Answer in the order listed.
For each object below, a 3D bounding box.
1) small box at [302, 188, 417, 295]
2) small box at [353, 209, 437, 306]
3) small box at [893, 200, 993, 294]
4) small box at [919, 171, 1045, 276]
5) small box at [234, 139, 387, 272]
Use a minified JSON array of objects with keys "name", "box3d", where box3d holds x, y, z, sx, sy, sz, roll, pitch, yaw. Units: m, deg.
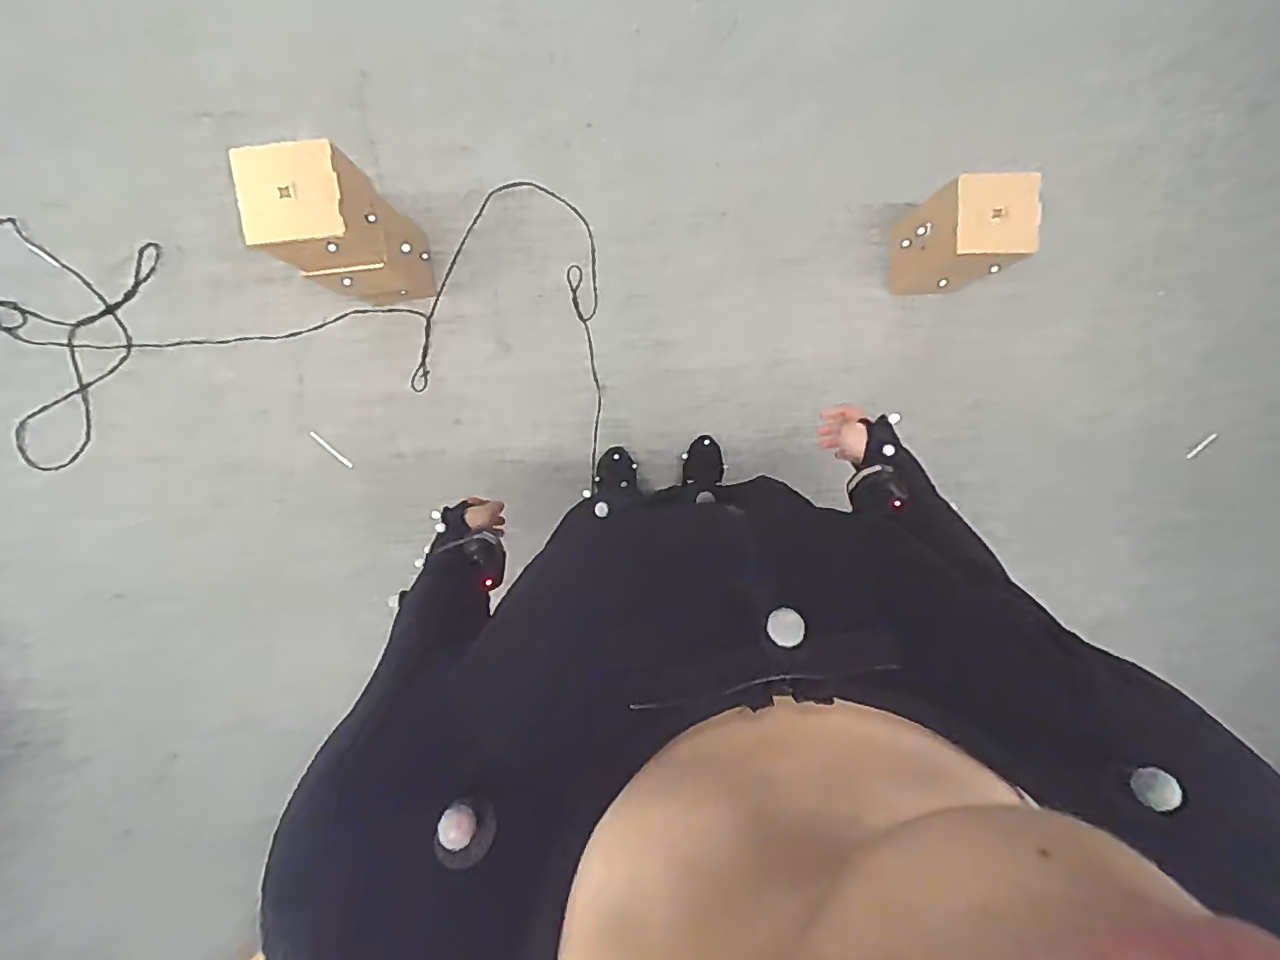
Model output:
[{"name":"small box","box3d":[-0.618,-0.516,1.187,0.179,0.176,0.168,-7,95,-1]},{"name":"small box","box3d":[-0.625,-0.547,1.349,0.179,0.176,0.168,-10,94,1]},{"name":"small box","box3d":[0.757,-0.581,1.361,0.168,0.176,0.179,-2,94,0]},{"name":"small box","box3d":[0.749,-0.561,1.199,0.179,0.176,0.168,-1,94,0]},{"name":"small box","box3d":[-0.613,-0.508,1.025,0.179,0.176,0.168,-8,95,-1]}]
